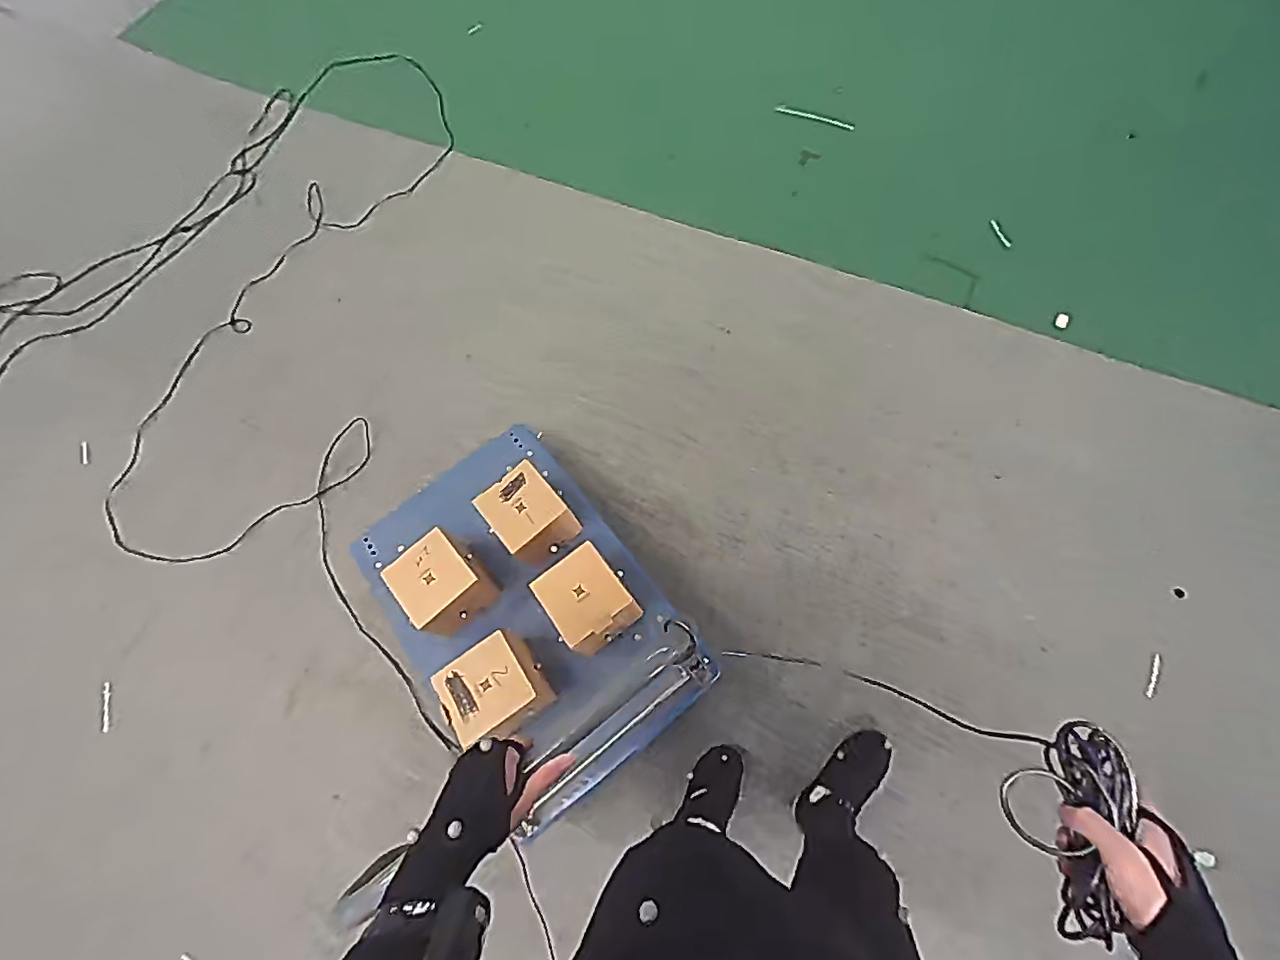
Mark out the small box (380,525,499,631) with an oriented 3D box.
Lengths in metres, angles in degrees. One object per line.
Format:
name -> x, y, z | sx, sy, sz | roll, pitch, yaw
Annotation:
small box -> -0.466, 0.241, 1.285 | 0.168, 0.176, 0.179 | -41, 69, -11

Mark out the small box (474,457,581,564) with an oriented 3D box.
small box -> -0.270, 0.081, 1.326 | 0.168, 0.176, 0.179 | -39, 69, -9

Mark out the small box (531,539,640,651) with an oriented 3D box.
small box -> -0.118, 0.268, 1.231 | 0.168, 0.176, 0.179 | -36, 68, -8
